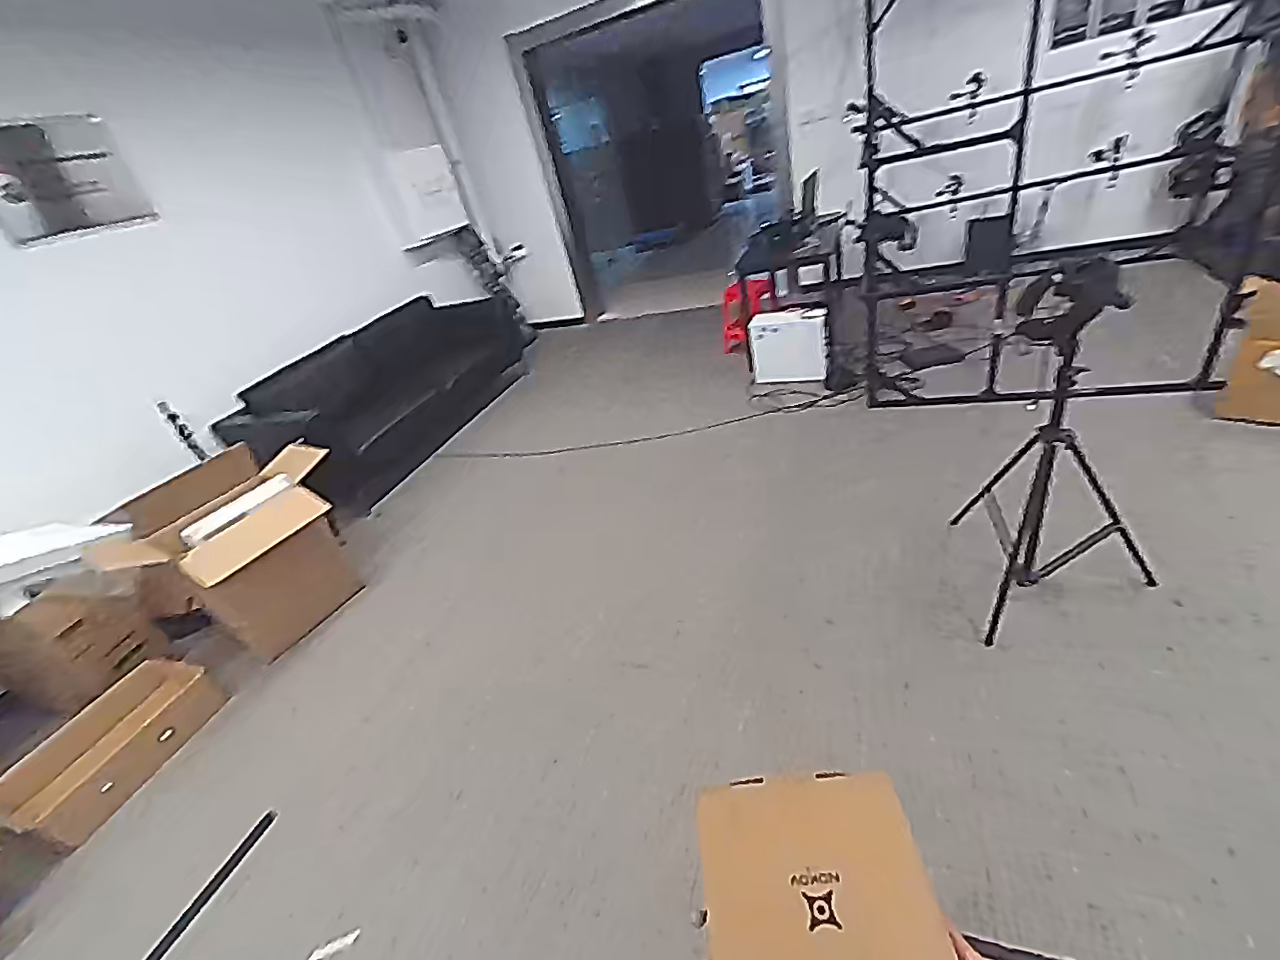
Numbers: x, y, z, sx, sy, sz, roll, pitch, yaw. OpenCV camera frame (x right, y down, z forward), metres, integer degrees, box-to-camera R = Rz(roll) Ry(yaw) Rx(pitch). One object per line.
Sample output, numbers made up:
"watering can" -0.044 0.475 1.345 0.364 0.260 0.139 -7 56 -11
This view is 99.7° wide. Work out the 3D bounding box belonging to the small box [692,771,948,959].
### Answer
"small box" 0.133 0.369 0.442 0.168 0.176 0.179 -6 40 3
